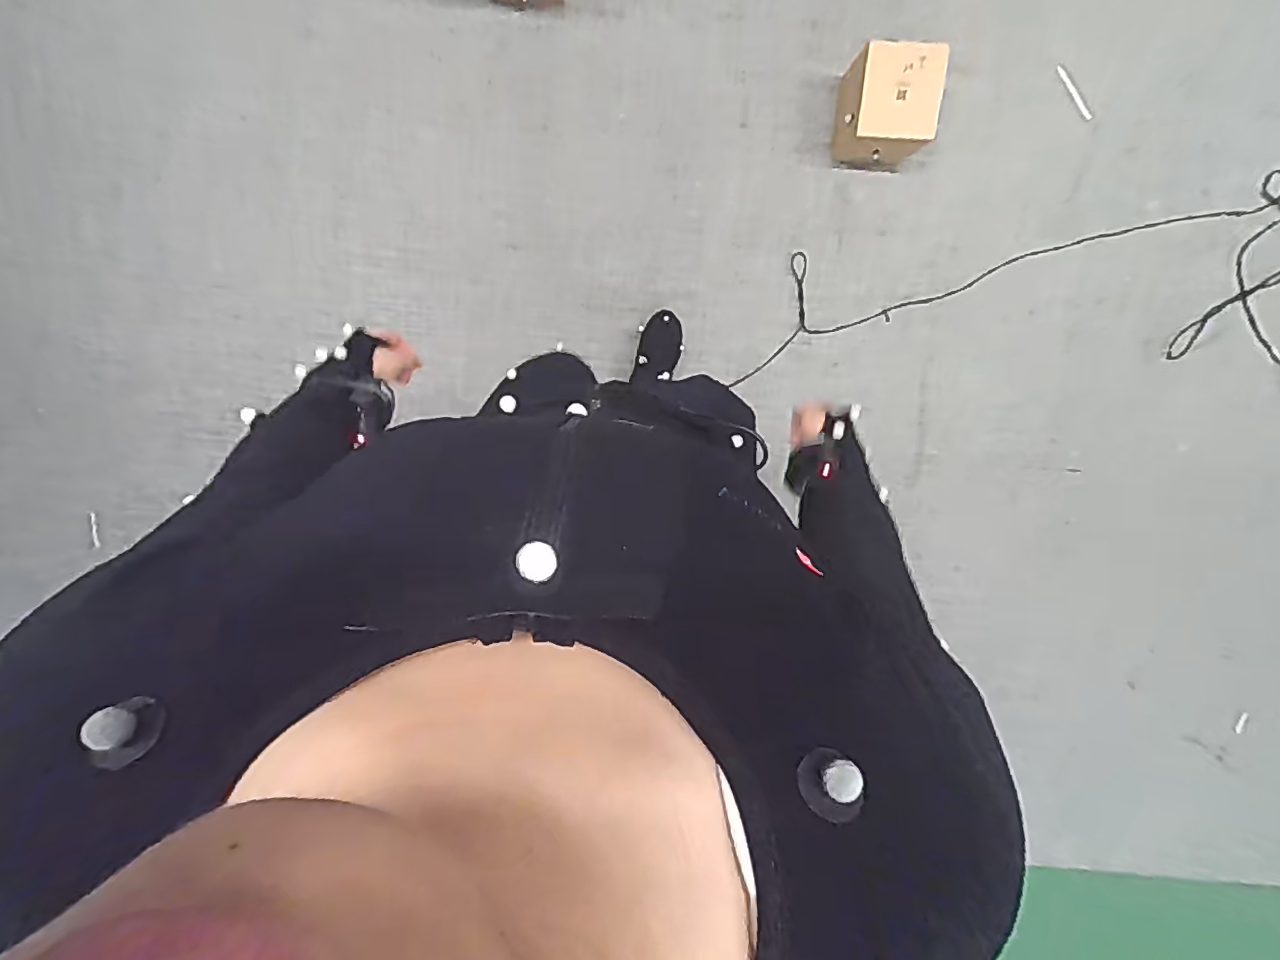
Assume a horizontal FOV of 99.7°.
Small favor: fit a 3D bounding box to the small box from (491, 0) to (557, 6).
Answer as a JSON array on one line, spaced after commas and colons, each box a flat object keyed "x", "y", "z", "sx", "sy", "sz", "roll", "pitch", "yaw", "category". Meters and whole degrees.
[{"x": -0.254, "y": -1.139, "z": 1.132, "sx": 0.179, "sy": 0.176, "sz": 0.168, "roll": 4, "pitch": 104, "yaw": 0, "category": "small box"}]

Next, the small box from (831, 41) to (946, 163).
[{"x": 0.534, "y": -0.819, "z": 1.189, "sx": 0.168, "sy": 0.176, "sz": 0.179, "roll": 3, "pitch": 105, "yaw": 0, "category": "small box"}]
